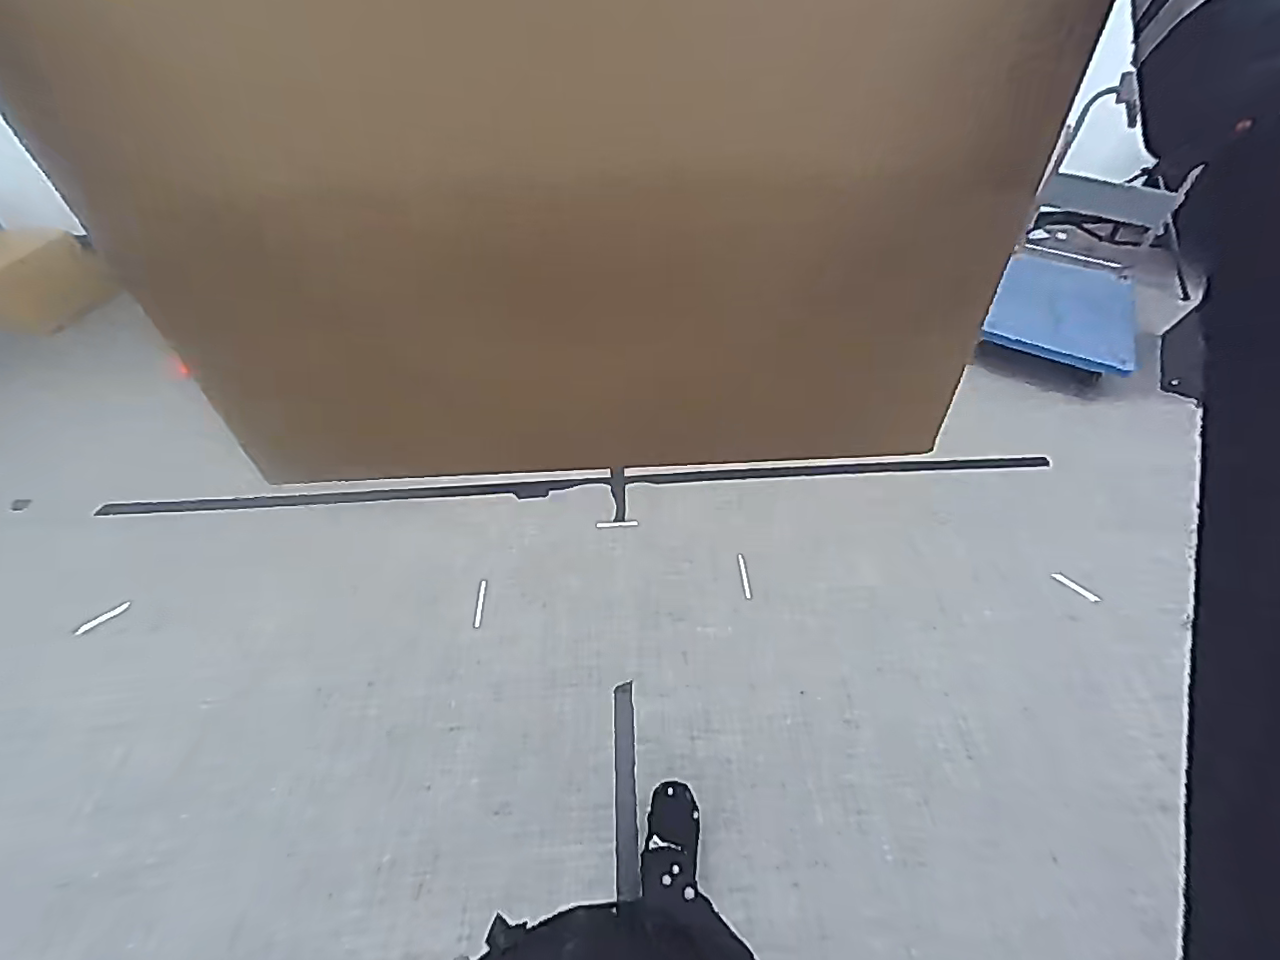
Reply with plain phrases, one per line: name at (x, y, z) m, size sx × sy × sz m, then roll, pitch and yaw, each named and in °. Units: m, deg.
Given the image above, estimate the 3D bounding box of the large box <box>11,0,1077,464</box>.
large box at (-0.034, -0.228, 0.350) m, size 0.408 × 0.320 × 0.320 m, roll -2°, pitch 43°, yaw 0°
